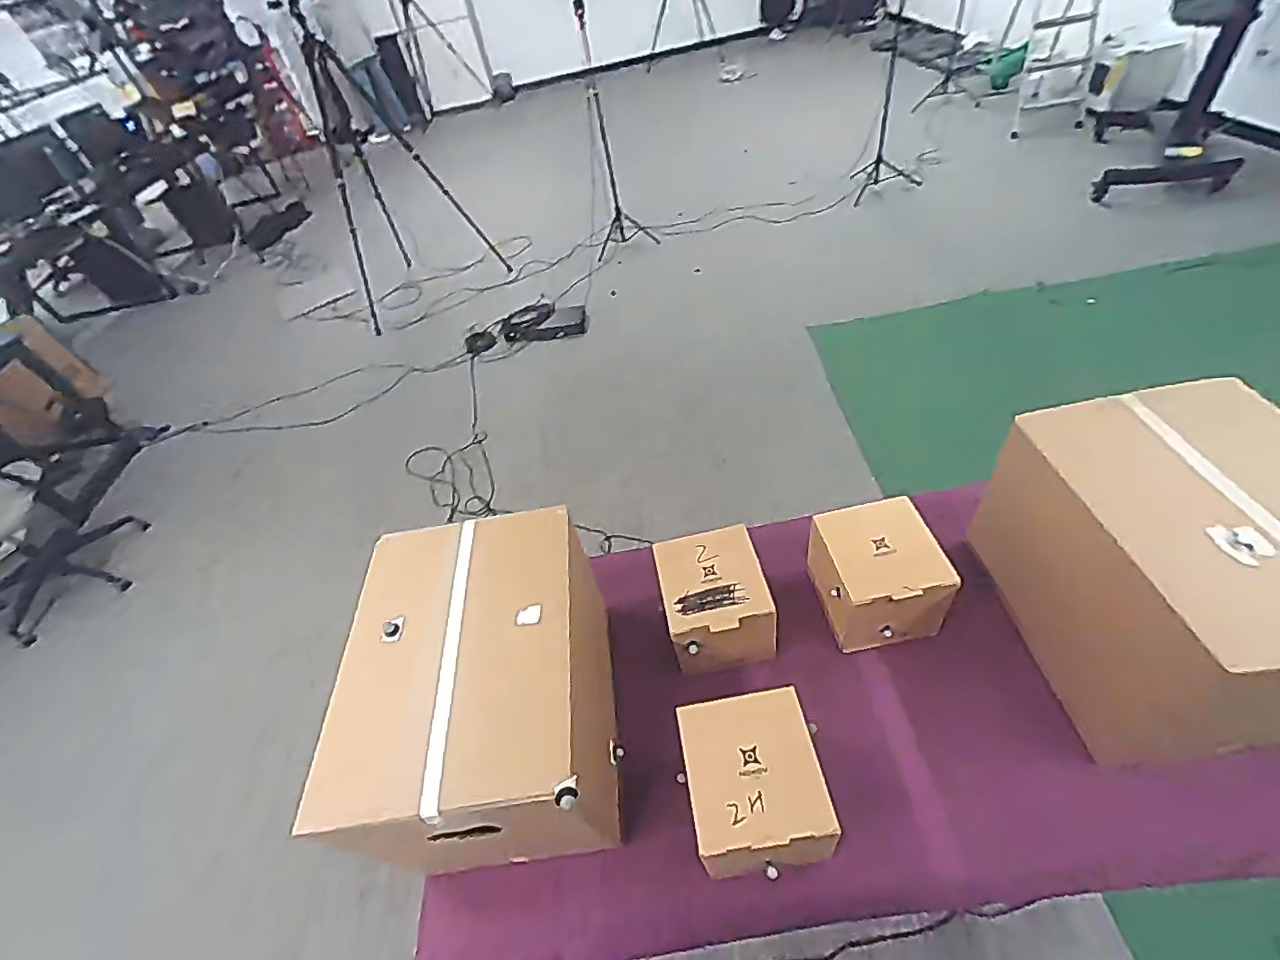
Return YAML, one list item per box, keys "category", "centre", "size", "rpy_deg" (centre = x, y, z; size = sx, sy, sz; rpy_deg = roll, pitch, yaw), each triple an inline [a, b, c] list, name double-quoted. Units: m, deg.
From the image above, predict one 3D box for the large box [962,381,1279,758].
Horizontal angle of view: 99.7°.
- category: "large box"
  centre: [0.744, 0.123, 0.770]
  size: [0.320, 0.320, 0.408]
  rpy_deg: [-11, 47, 5]
